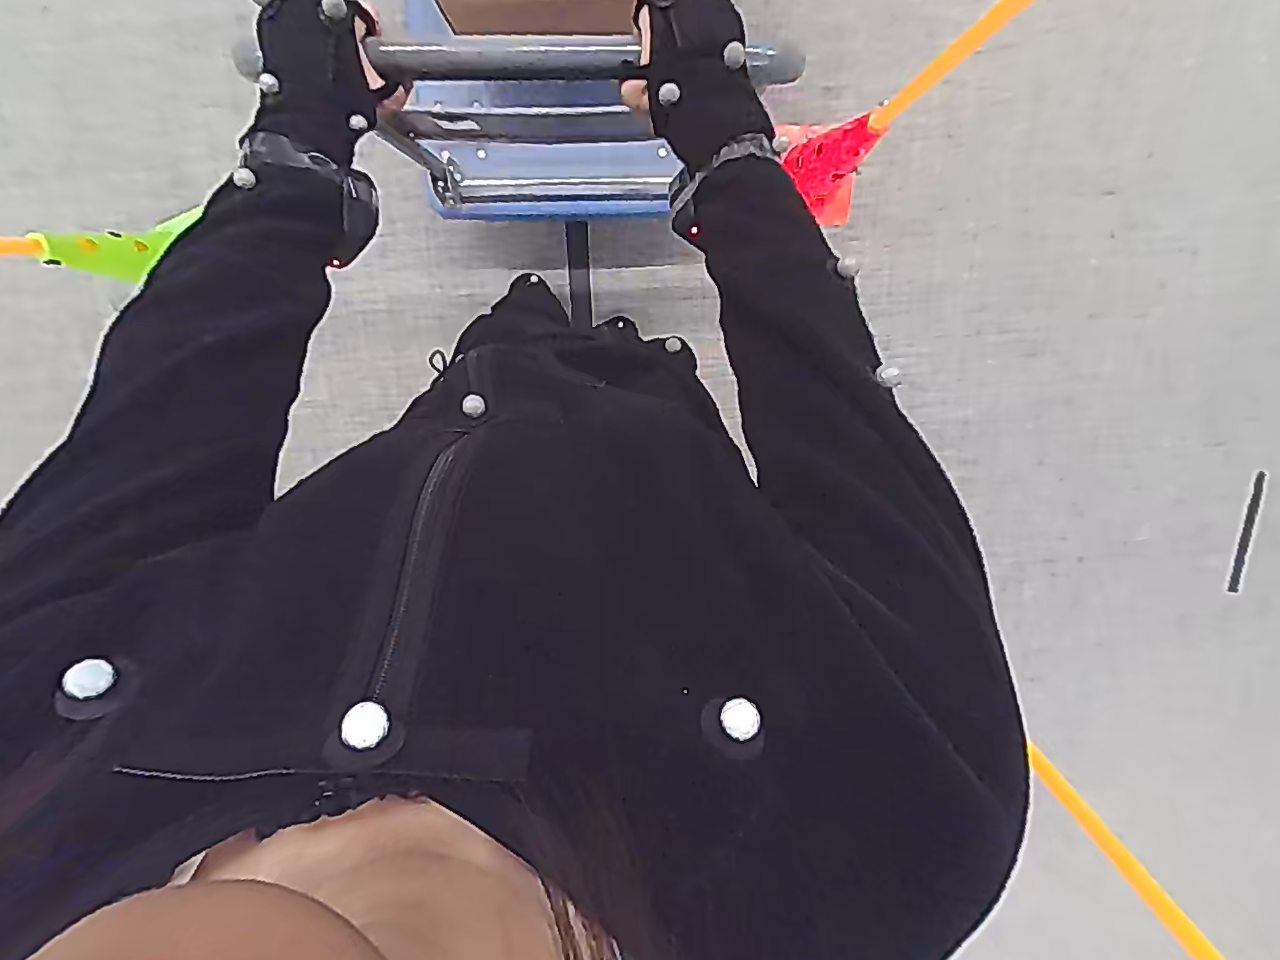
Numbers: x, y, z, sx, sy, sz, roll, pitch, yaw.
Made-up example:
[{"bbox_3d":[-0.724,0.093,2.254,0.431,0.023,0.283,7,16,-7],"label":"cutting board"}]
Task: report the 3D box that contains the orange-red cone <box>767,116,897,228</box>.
[{"bbox_3d":[0.406,-0.639,1.068,0.199,0.360,0.198,3,107,-4],"label":"orange-red cone"}]
